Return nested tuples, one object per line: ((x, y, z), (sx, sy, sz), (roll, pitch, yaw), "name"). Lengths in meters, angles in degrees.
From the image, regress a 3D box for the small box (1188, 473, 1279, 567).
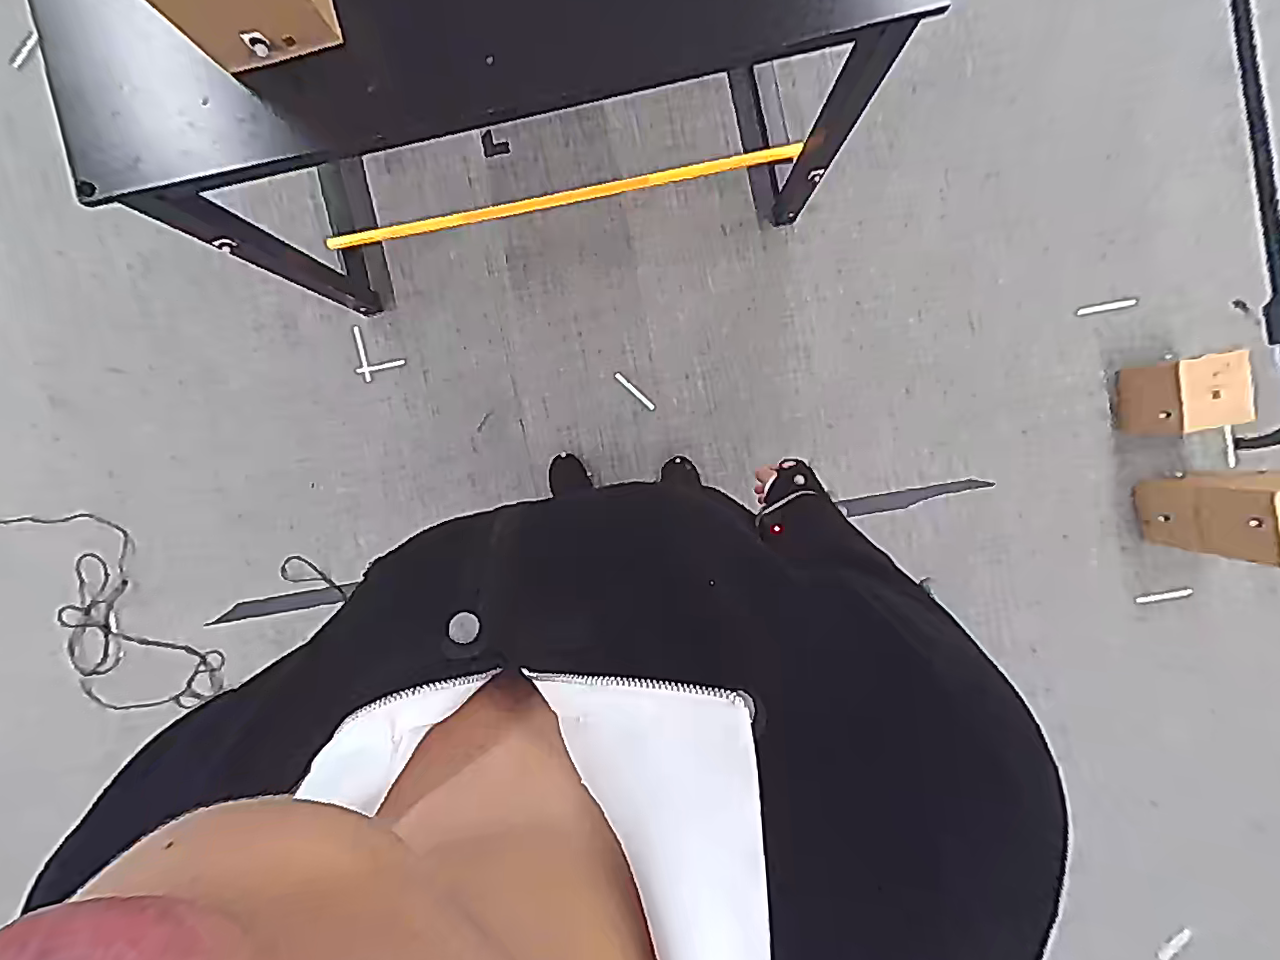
((1.413, 0.083, 1.231), (0.168, 0.176, 0.179), (-13, 94, 2), "small box")

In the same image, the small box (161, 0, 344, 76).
((-0.499, -0.649, 0.655), (0.168, 0.176, 0.179), (-15, 94, 3), "small box")

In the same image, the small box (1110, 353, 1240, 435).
((1.352, -0.212, 1.377), (0.168, 0.176, 0.179), (-9, 93, 1), "small box")

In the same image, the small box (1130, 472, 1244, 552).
((1.421, 0.078, 1.397), (0.179, 0.176, 0.168), (-13, 93, 3), "small box")
